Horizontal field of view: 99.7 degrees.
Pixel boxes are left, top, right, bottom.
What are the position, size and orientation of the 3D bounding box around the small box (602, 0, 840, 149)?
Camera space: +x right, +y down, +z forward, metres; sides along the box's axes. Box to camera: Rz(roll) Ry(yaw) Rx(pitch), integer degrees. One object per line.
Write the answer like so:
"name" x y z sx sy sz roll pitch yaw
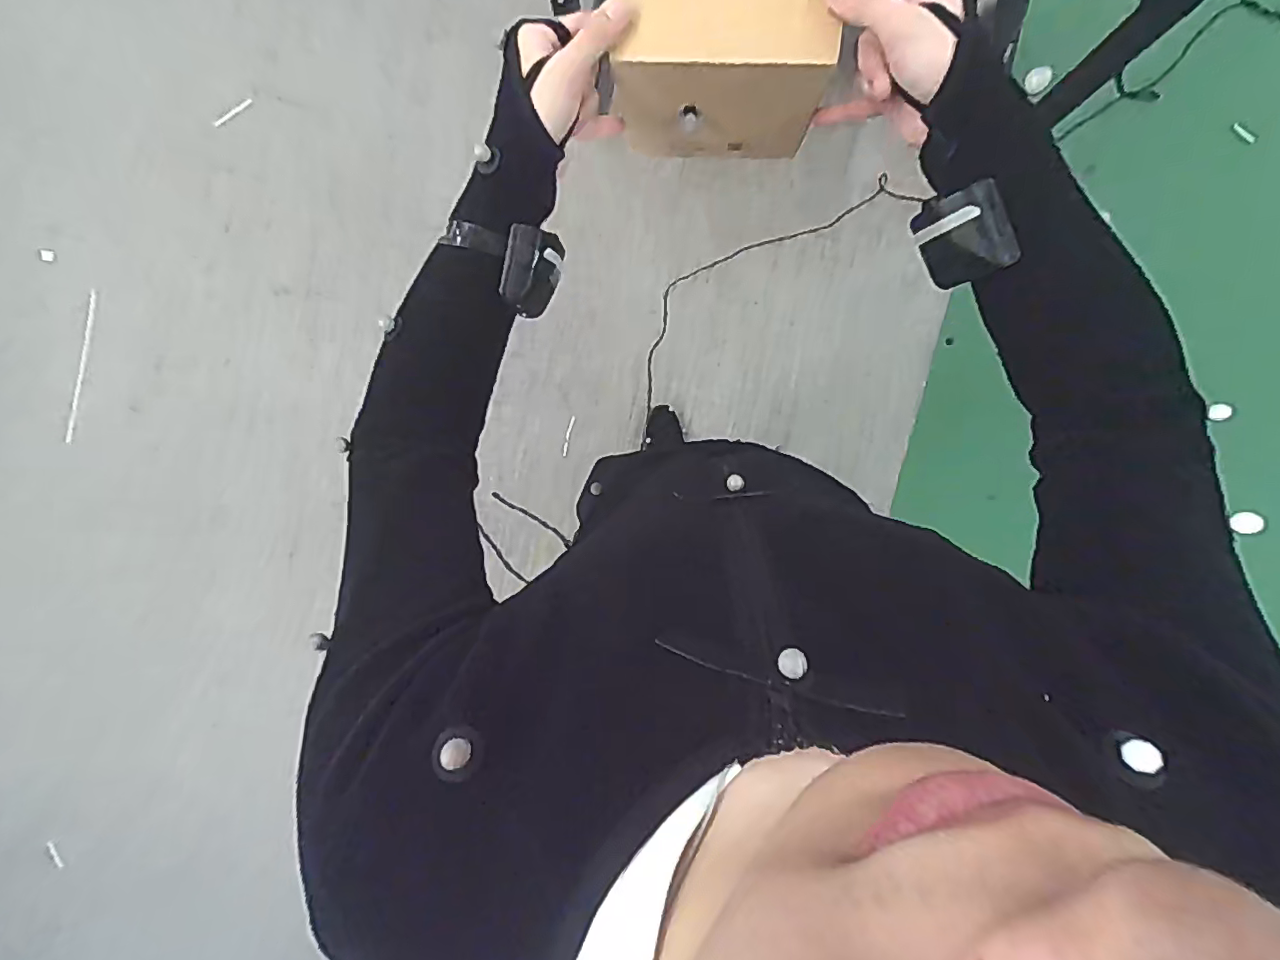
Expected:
"small box" 0.068 -0.397 0.442 0.168 0.176 0.179 4 99 5
